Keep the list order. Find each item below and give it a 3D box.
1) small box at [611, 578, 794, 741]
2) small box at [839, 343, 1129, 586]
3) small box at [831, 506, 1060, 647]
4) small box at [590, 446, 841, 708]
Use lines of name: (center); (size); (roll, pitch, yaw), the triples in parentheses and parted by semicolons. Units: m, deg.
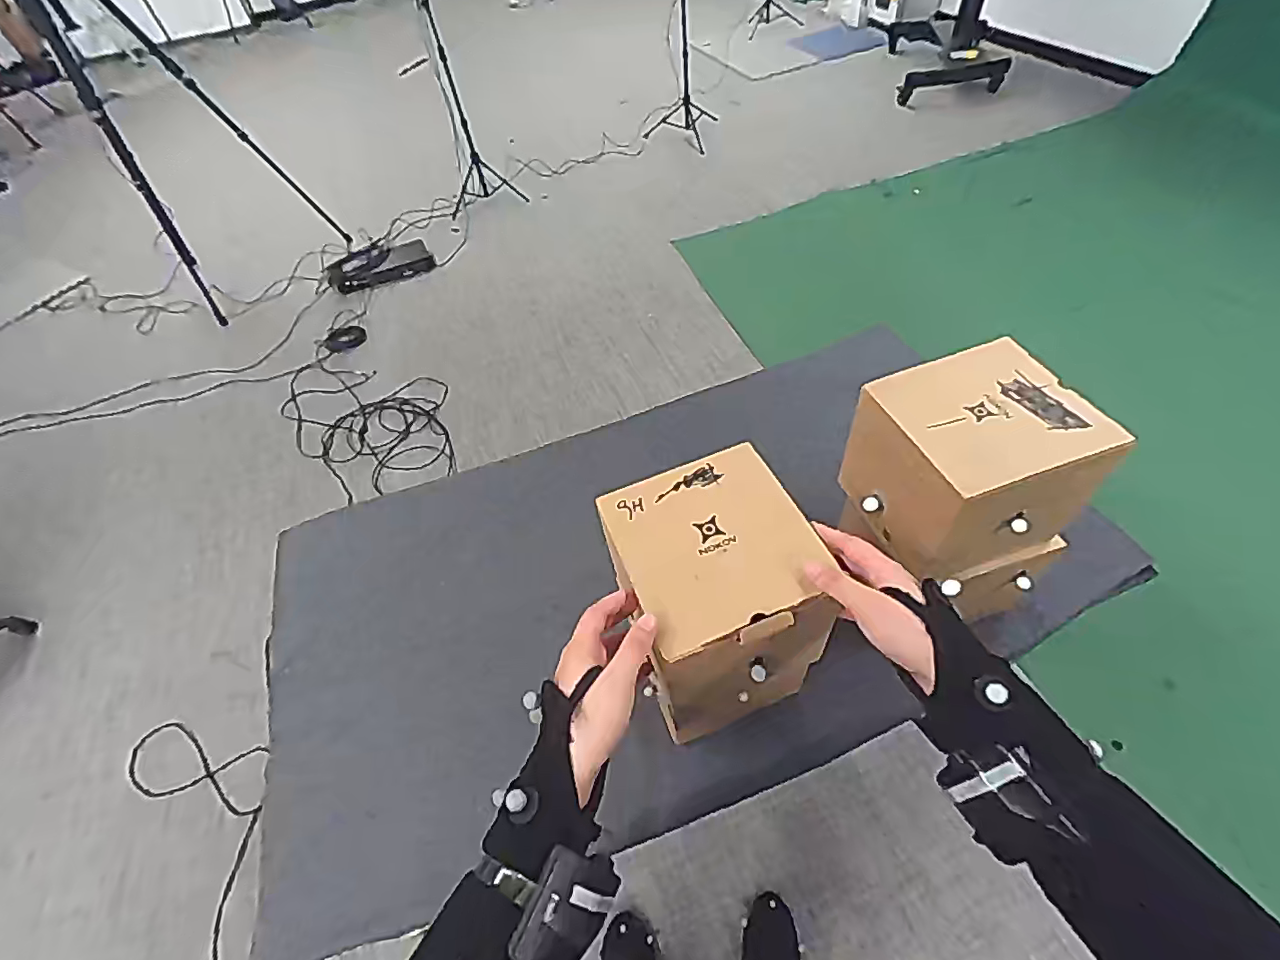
small box: (0.080, 0.196, 0.667); (0.179, 0.176, 0.168); (-20, 53, -10)
small box: (0.342, -0.013, 0.583); (0.179, 0.176, 0.168); (-18, 51, -5)
small box: (0.375, 0.093, 0.706); (0.179, 0.176, 0.168); (-16, 51, -5)
small box: (0.066, 0.103, 0.531); (0.168, 0.176, 0.179); (-20, 53, -8)
